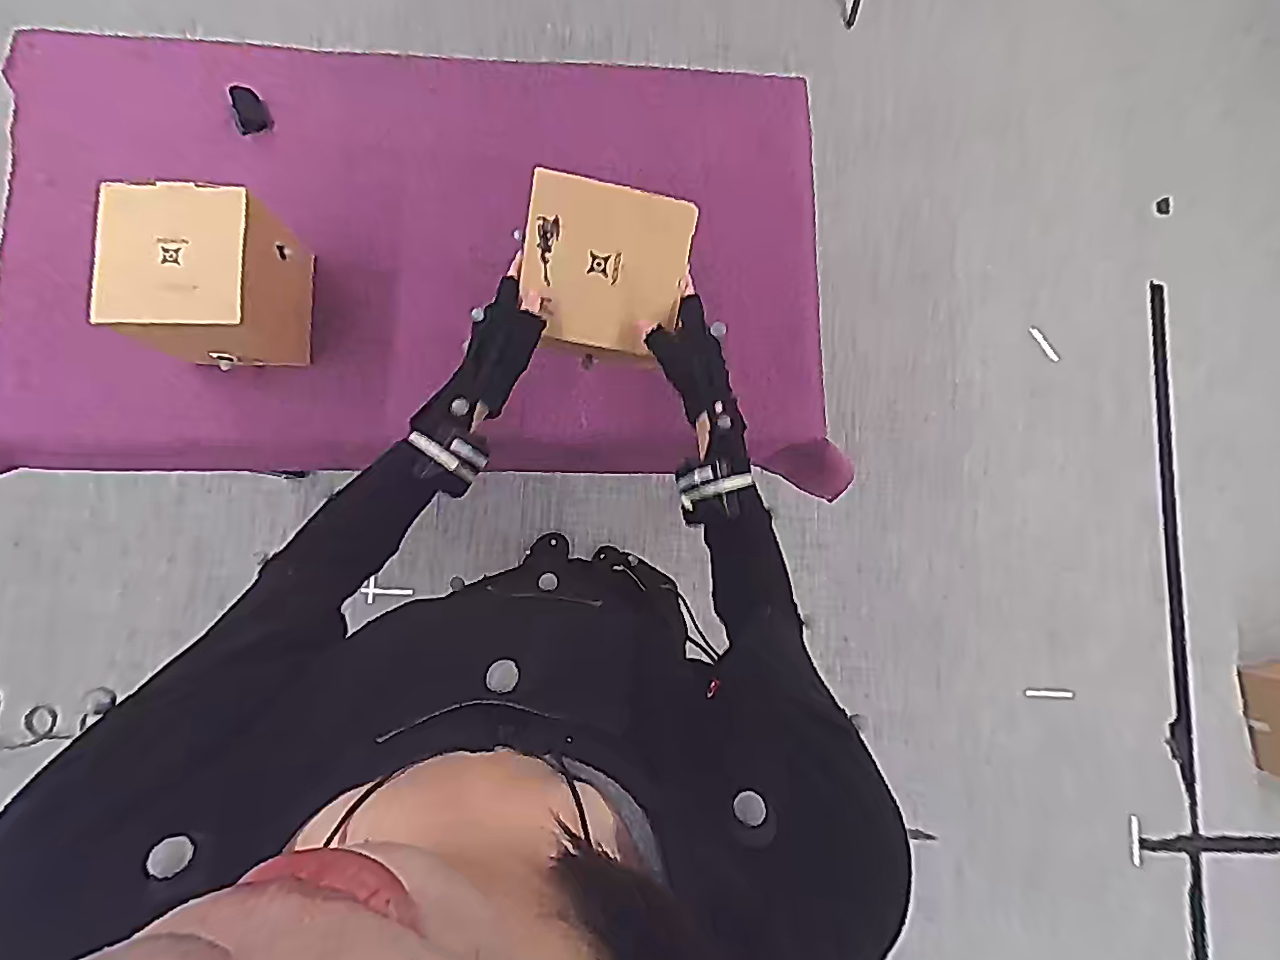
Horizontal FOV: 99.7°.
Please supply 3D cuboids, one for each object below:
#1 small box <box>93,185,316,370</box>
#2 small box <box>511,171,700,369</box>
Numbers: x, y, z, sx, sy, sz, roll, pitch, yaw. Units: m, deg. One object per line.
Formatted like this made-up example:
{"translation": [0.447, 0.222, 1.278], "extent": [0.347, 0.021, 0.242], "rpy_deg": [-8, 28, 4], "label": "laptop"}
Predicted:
{"translation": [-0.557, -0.257, 0.718], "extent": [0.168, 0.176, 0.179], "rpy_deg": [-1, 85, -5], "label": "small box"}
{"translation": [-0.047, -0.228, 0.639], "extent": [0.179, 0.176, 0.168], "rpy_deg": [9, 97, -10], "label": "small box"}
